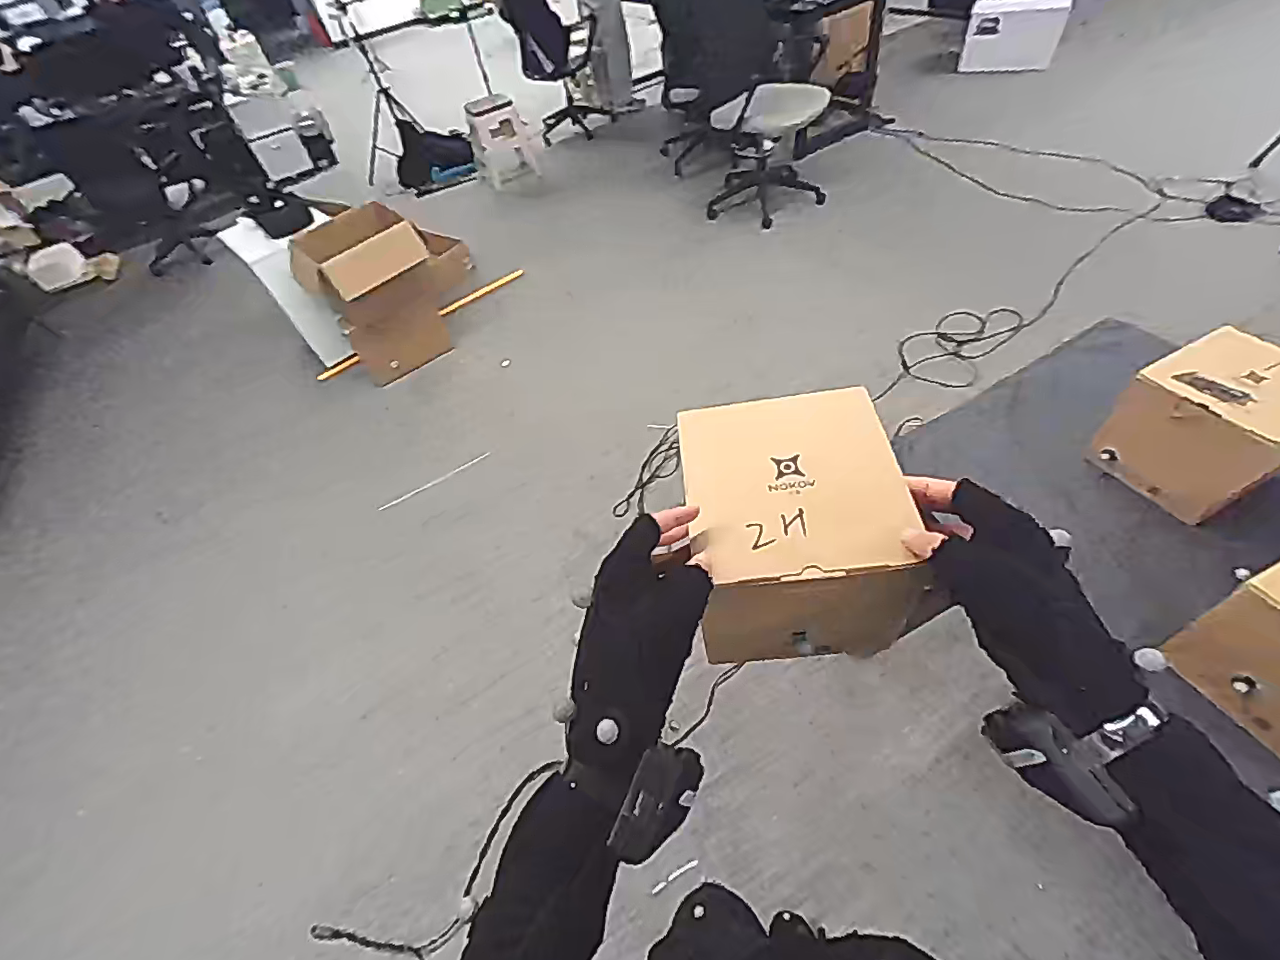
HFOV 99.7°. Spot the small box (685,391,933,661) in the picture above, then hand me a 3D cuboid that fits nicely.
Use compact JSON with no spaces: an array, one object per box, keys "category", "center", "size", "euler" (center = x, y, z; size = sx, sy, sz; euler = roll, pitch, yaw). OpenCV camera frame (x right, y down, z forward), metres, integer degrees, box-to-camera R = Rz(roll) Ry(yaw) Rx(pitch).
[{"category":"small box","center":[0.134,0.047,0.495],"size":[0.168,0.176,0.179],"euler":[-7,52,7]}]

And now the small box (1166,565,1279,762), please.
[{"category":"small box","center":[0.724,0.176,0.562],"size":[0.179,0.176,0.168],"euler":[-25,49,-10]}]

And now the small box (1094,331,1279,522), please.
[{"category":"small box","center":[0.793,-0.071,0.757],"size":[0.179,0.176,0.168],"euler":[-25,50,-10]}]
